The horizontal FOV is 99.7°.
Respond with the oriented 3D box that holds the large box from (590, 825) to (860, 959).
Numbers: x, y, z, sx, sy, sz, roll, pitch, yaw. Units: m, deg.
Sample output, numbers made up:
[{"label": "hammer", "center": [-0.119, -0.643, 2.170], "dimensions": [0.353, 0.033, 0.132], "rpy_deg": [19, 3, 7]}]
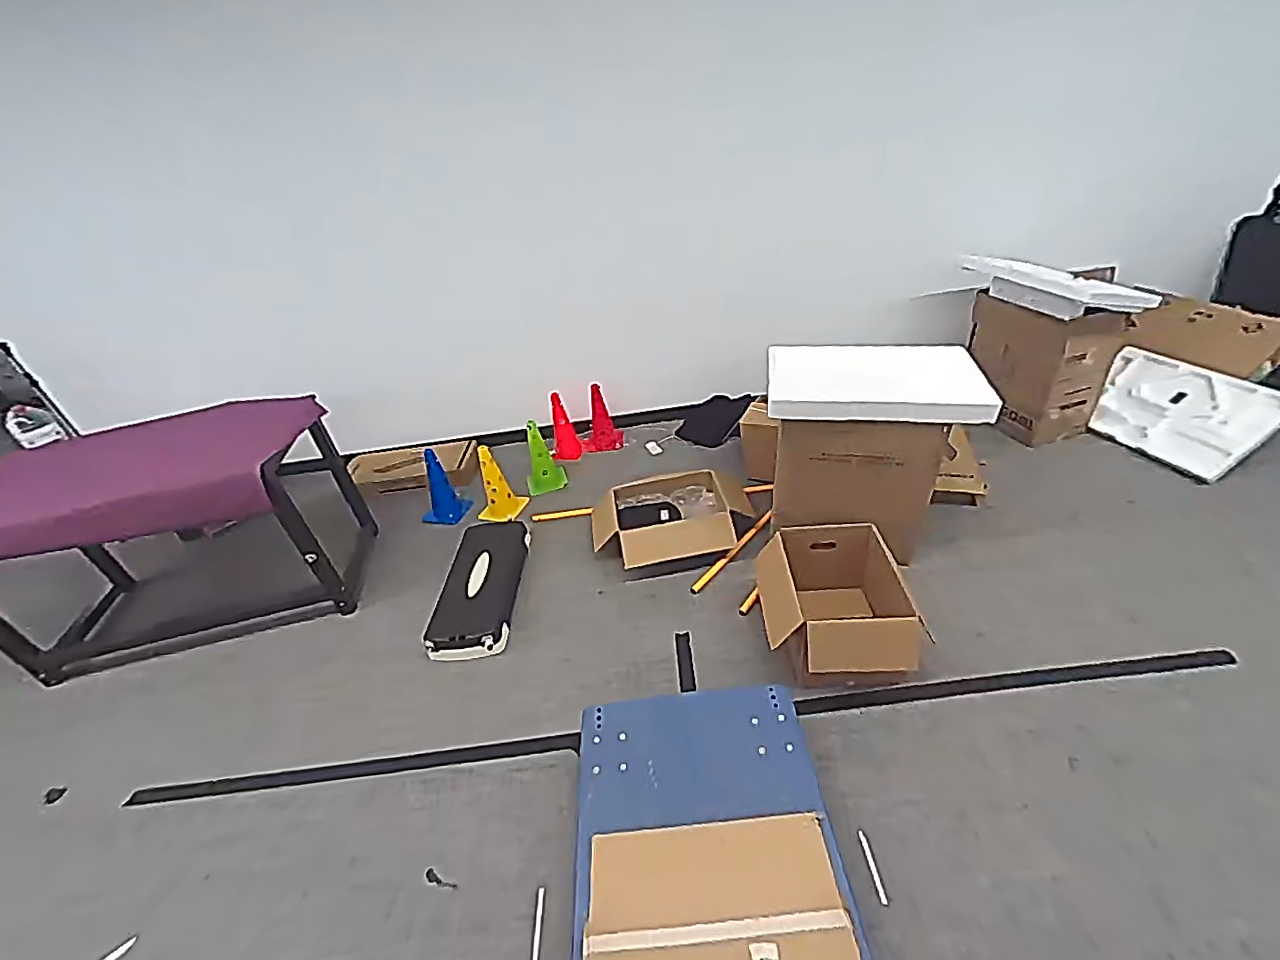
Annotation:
[{"label": "large box", "center": [0.136, 0.829, 0.892], "dimensions": [0.408, 0.320, 0.320], "rpy_deg": [-7, 34, 1]}]
